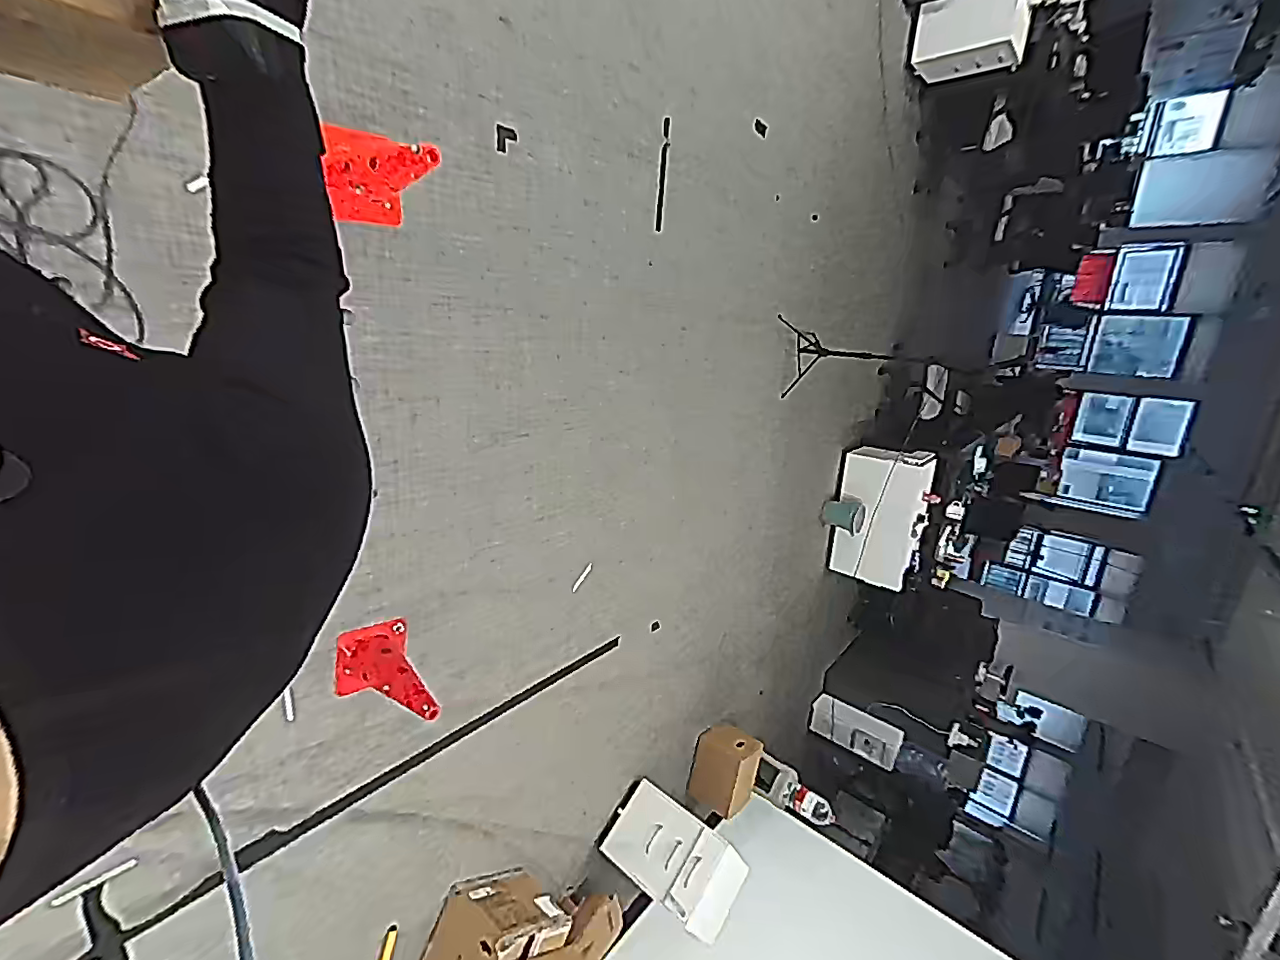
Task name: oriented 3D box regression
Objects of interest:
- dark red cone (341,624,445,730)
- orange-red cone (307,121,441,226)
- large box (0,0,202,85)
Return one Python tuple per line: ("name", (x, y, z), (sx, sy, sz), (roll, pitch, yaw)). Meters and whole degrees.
("dark red cone", (-0.652, 0.567, 1.487), (0.201, 0.394, 0.202), (-6, 108, -48))
("orange-red cone", (-0.553, -0.696, 1.195), (0.198, 0.360, 0.199), (-19, 116, -47))
("large box", (-0.520, -0.450, 0.254), (0.408, 0.320, 0.320), (-16, 120, -49))
